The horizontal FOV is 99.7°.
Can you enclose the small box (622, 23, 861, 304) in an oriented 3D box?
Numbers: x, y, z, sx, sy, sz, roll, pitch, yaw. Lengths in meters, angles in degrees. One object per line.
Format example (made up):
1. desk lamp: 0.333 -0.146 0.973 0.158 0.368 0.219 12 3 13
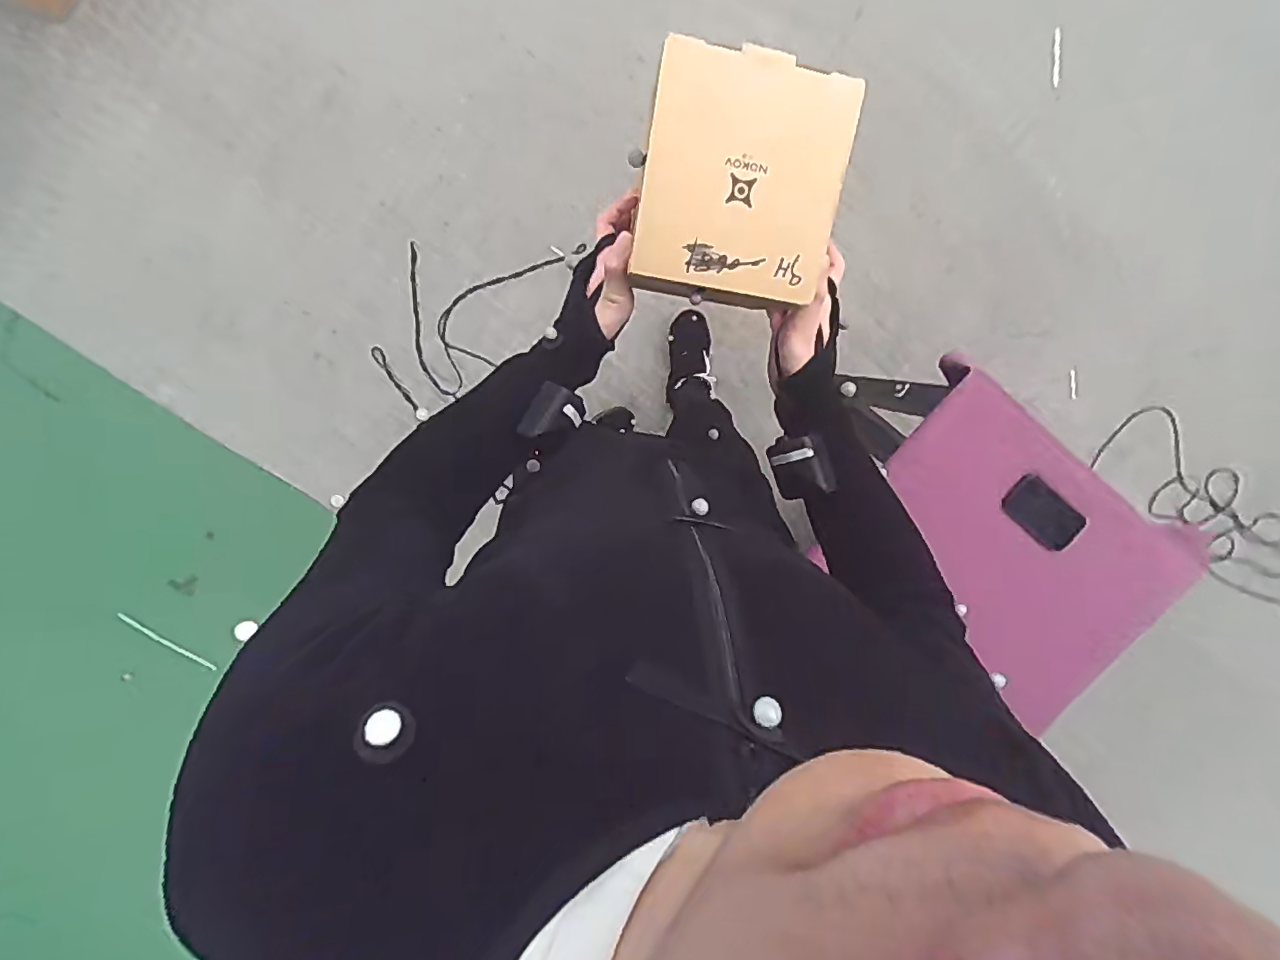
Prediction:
1. small box: 0.076 -0.273 0.513 0.168 0.176 0.179 8 106 -6
